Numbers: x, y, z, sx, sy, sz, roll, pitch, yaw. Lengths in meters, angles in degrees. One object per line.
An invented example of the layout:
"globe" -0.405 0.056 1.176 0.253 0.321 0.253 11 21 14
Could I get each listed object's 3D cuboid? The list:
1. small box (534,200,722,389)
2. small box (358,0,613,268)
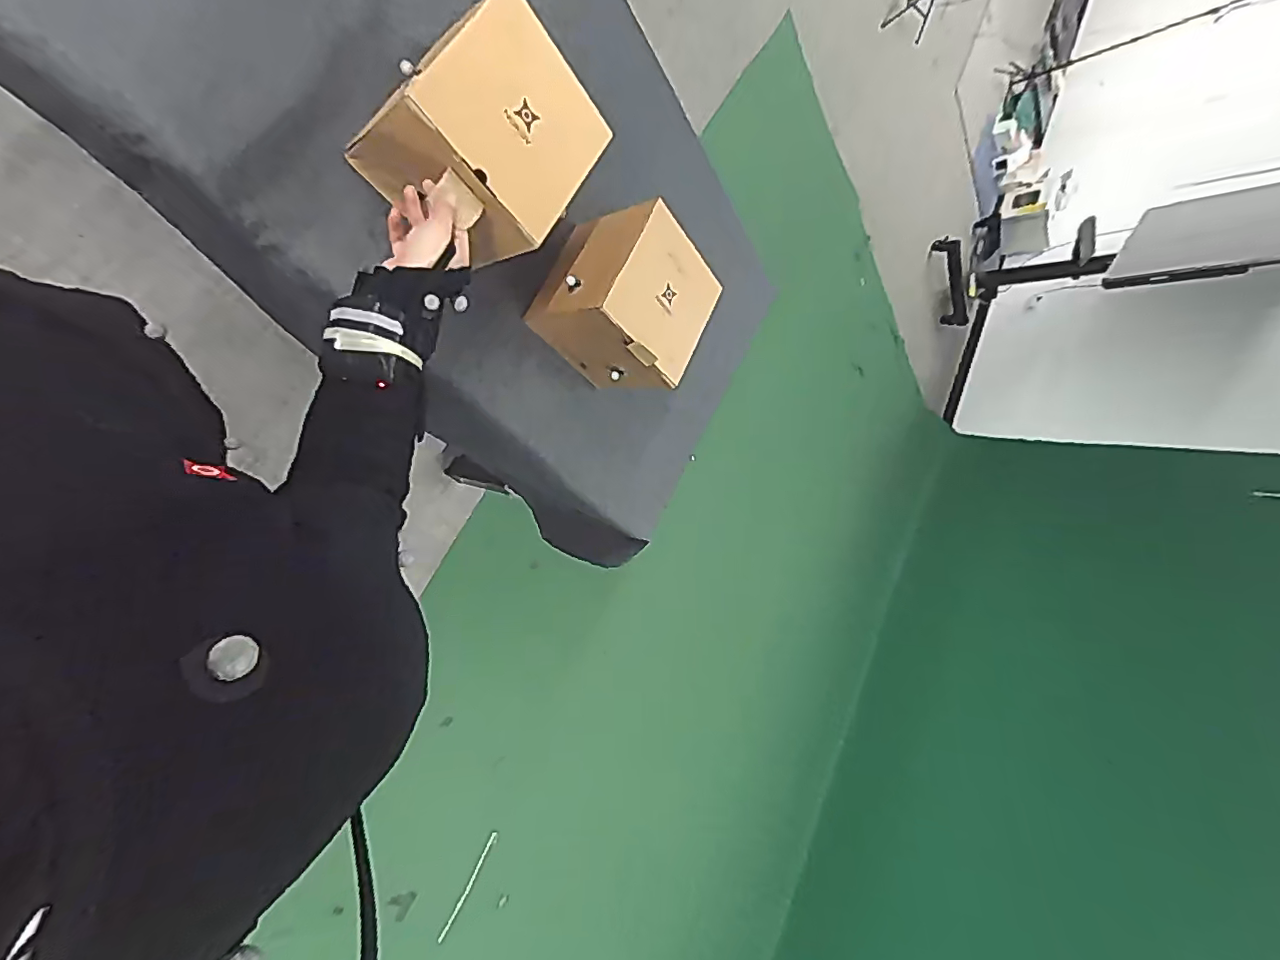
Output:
"small box" -0.020 -0.243 0.751 0.168 0.176 0.179 38 69 -44
"small box" -0.167 -0.360 0.583 0.168 0.176 0.179 41 68 -41
